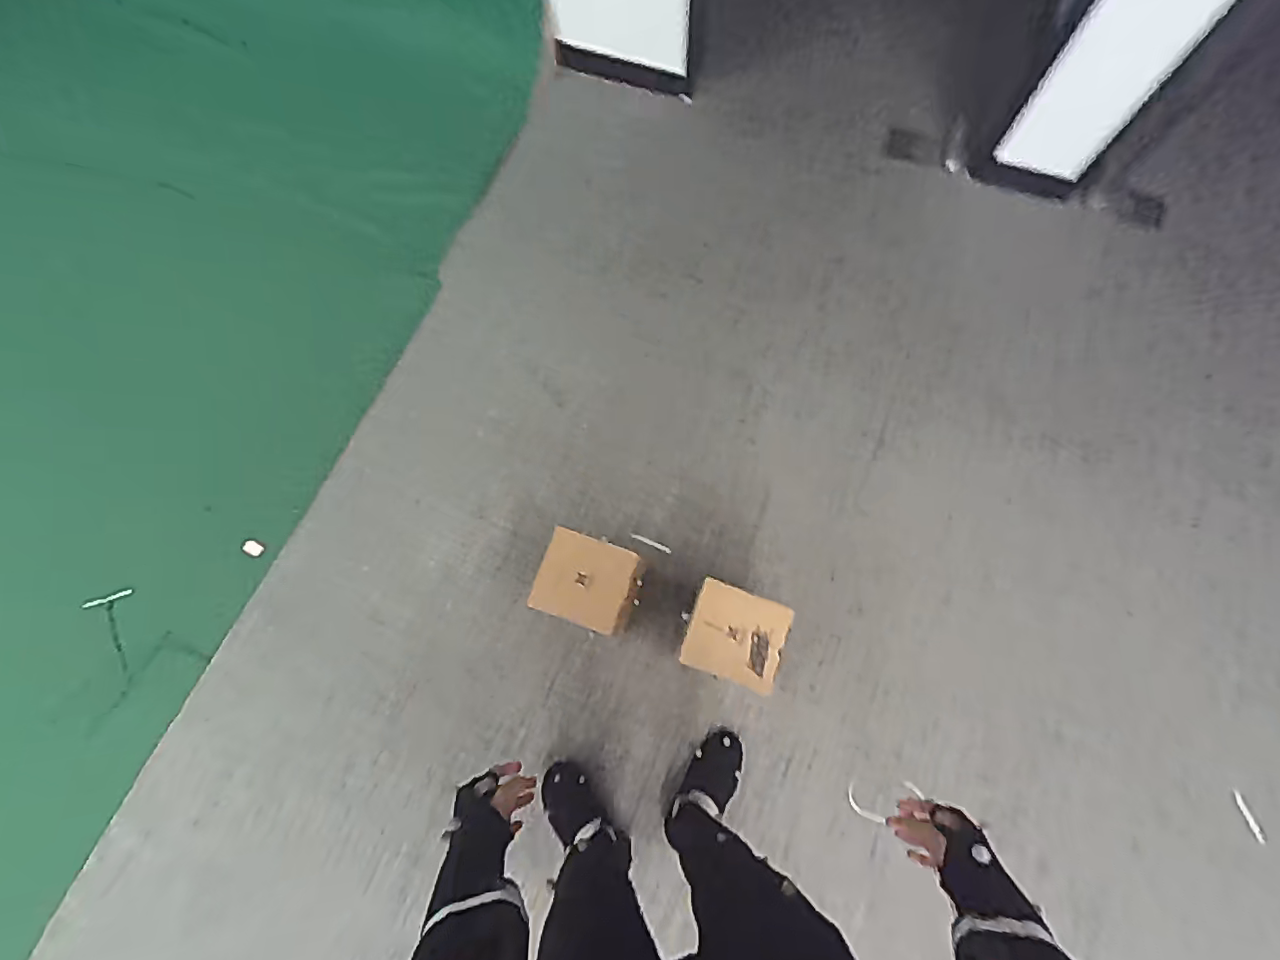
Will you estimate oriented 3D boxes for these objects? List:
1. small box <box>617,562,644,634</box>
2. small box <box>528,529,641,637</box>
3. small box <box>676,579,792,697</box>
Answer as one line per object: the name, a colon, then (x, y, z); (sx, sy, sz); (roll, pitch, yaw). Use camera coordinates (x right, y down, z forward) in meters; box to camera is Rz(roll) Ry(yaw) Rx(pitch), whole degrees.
small box: (-0.095, 0.257, 1.284); (0.179, 0.176, 0.168); (18, 74, 9)
small box: (-0.104, 0.219, 1.124); (0.179, 0.176, 0.168); (18, 74, 9)
small box: (0.180, 0.313, 1.080); (0.179, 0.176, 0.168); (20, 74, 10)
